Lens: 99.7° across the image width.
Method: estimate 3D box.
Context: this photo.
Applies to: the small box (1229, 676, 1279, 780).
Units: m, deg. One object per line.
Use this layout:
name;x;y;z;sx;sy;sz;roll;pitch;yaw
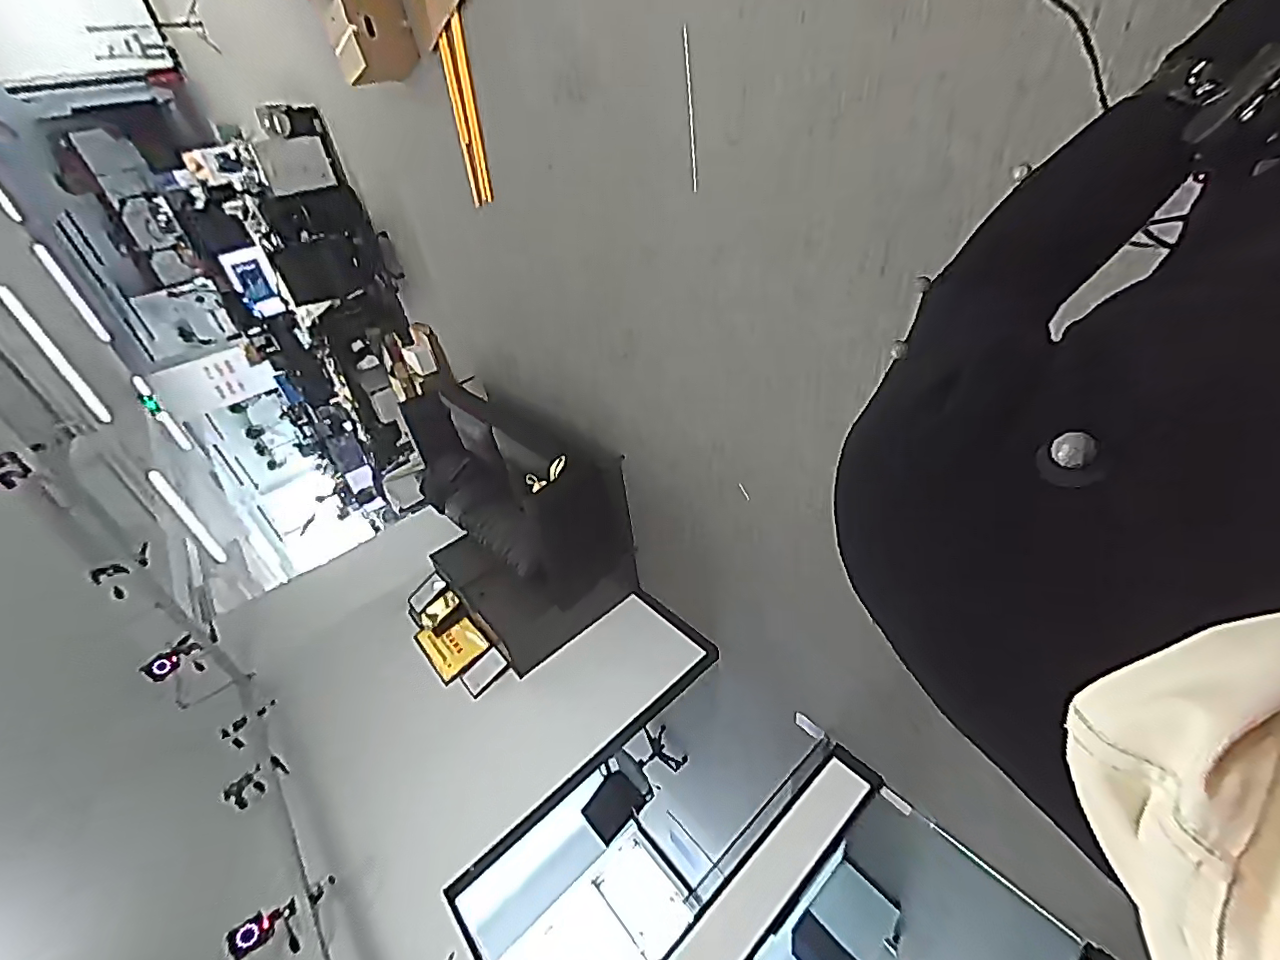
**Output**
small box;1.575;0.607;1.289;0.168;0.176;0.179;31;141;42
